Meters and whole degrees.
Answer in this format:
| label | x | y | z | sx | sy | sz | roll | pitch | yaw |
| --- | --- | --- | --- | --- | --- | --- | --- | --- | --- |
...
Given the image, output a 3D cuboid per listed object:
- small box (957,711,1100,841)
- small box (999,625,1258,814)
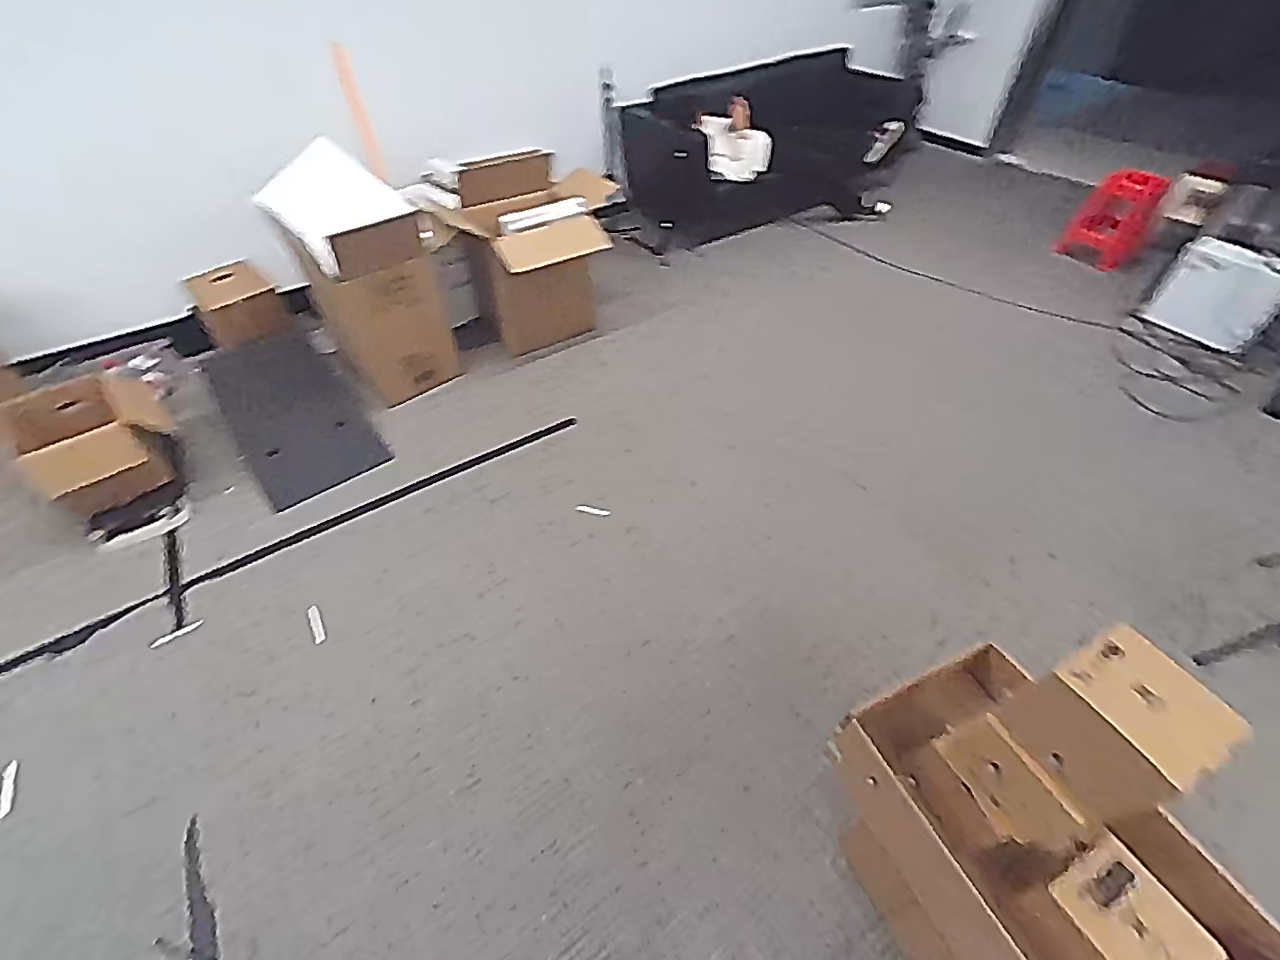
| label | x | y | z | sx | sy | sz | roll | pitch | yaw |
| --- | --- | --- | --- | --- | --- | --- | --- | --- | --- |
| small box | 0.661 | 0.458 | 0.888 | 0.179 | 0.176 | 0.168 | -19 | 51 | -18 |
| small box | 0.673 | 0.346 | 0.770 | 0.168 | 0.176 | 0.179 | -19 | 52 | -19 |
